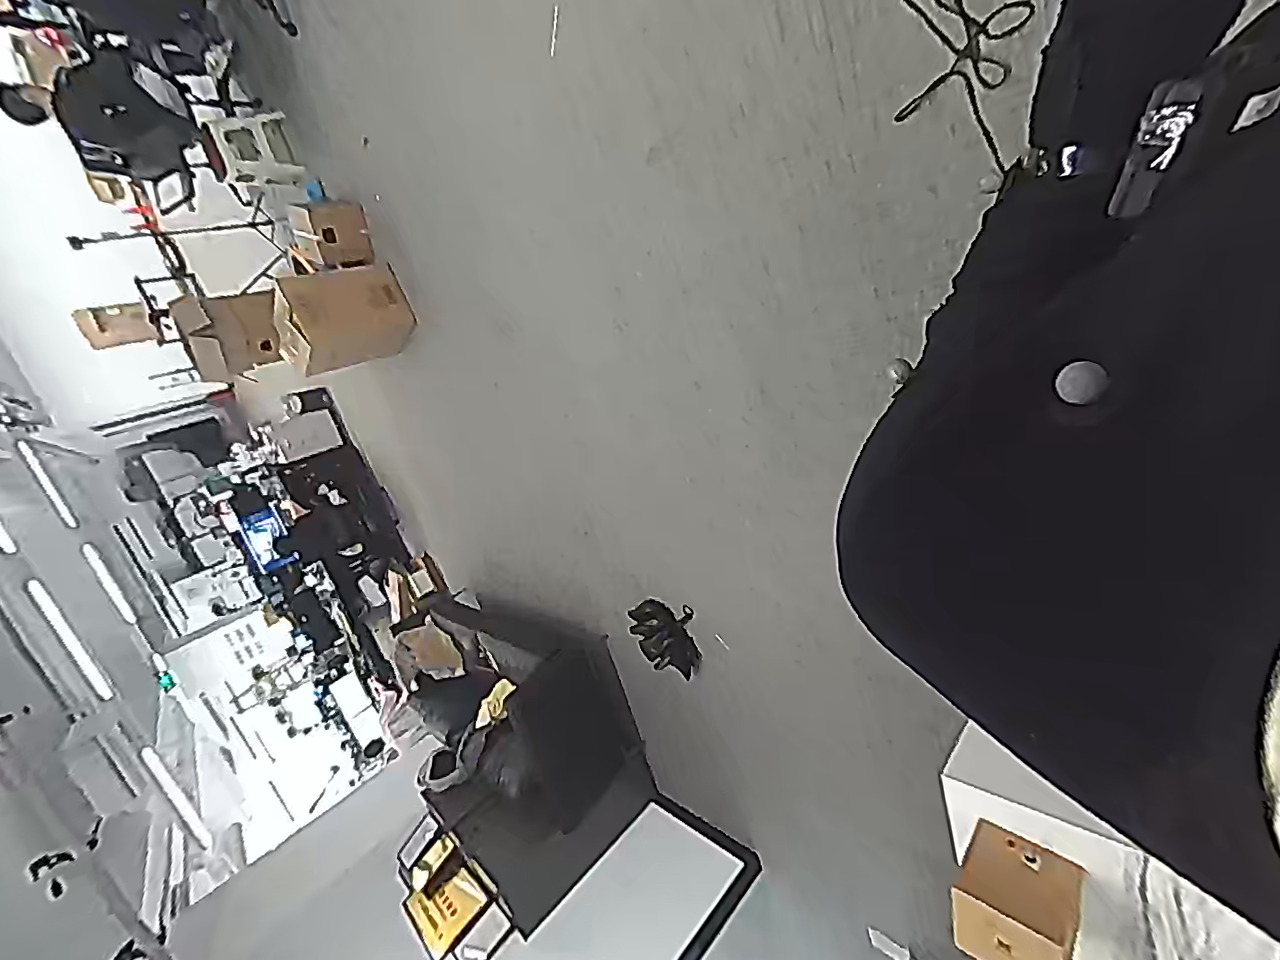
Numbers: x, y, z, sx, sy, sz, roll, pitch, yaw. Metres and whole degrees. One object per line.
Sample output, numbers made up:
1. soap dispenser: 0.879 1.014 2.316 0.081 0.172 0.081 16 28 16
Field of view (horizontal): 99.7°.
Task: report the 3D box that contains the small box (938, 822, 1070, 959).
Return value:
1. small box: 0.666 0.786 0.988 0.168 0.176 0.179 7 116 46
